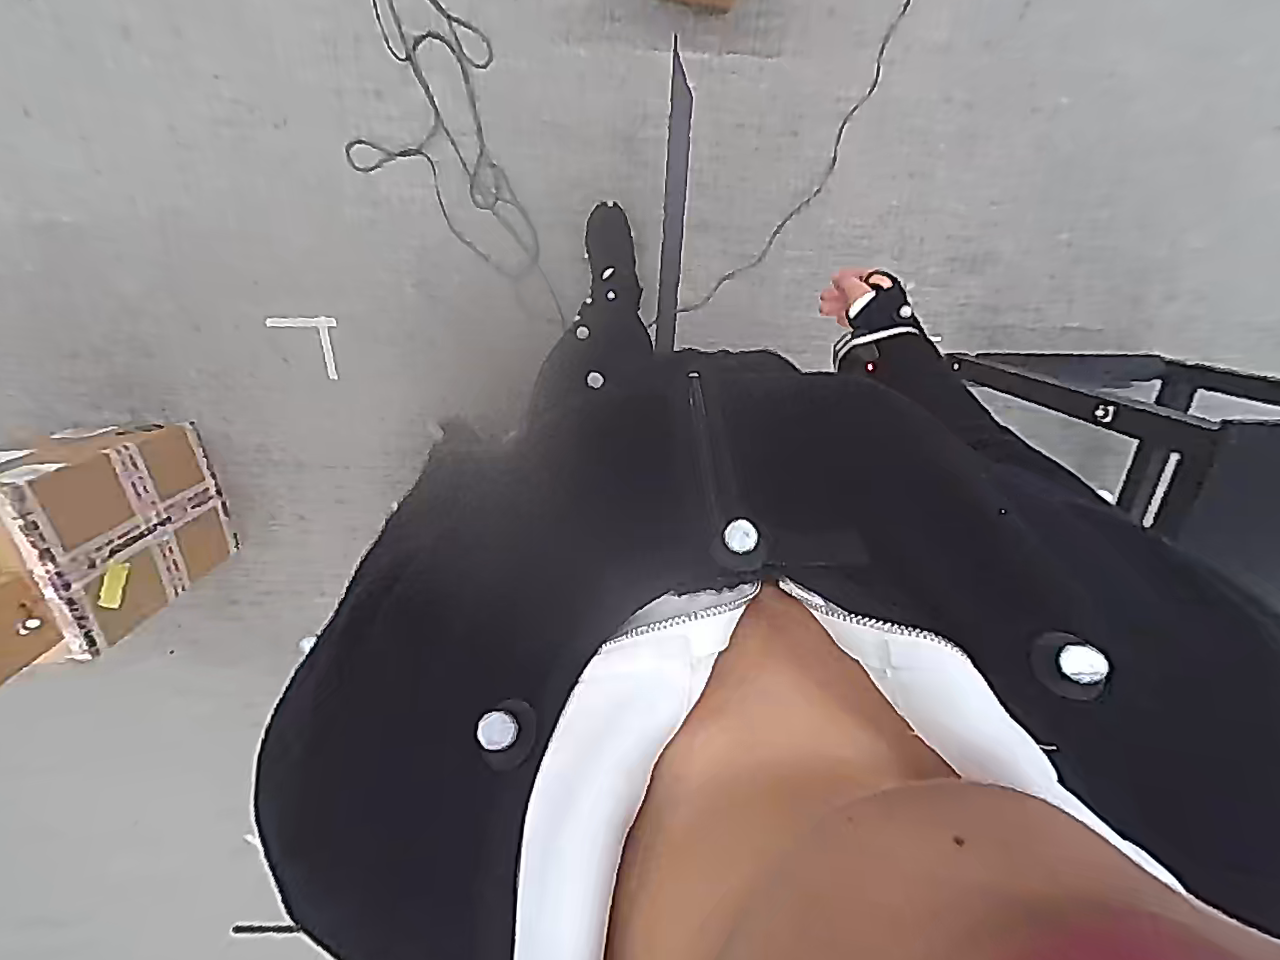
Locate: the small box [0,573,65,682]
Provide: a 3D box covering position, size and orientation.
[{"bbox_3d":[-1.267,0.296,1.007,0.179,0.176,0.168,-11,113,-2],"label":"small box"}]

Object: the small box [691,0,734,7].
[{"bbox_3d":[0.122,-1.051,1.034,0.179,0.176,0.168,7,111,-4],"label":"small box"}]
